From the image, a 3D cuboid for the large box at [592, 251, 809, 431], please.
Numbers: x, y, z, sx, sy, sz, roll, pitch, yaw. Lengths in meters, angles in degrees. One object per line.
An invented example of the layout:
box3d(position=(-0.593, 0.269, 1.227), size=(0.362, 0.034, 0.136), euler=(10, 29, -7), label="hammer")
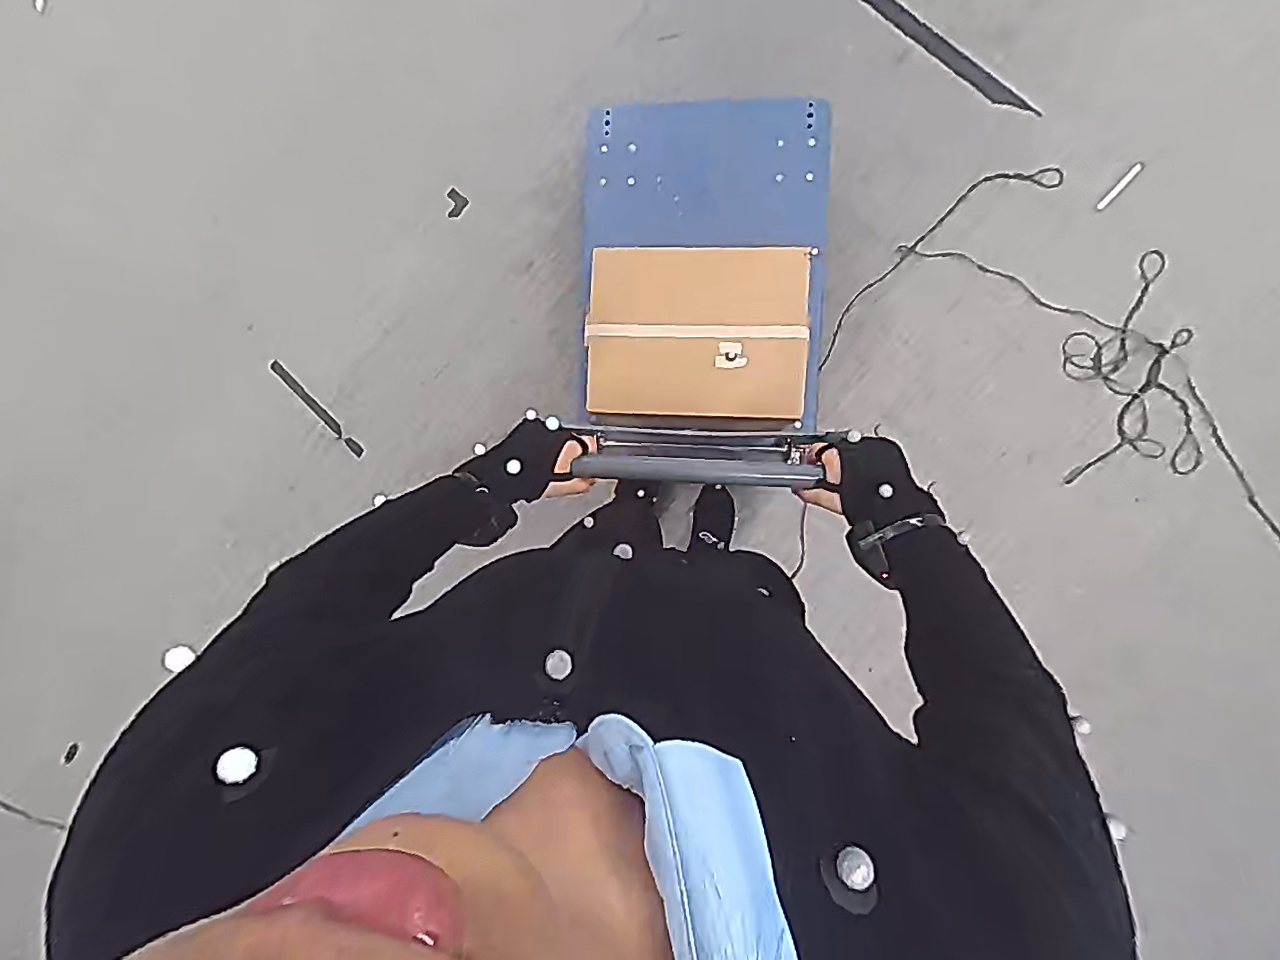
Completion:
box3d(position=(0.120, -0.273, 1.159), size=(0.408, 0.320, 0.320), euler=(2, 92, 5), label="large box")
